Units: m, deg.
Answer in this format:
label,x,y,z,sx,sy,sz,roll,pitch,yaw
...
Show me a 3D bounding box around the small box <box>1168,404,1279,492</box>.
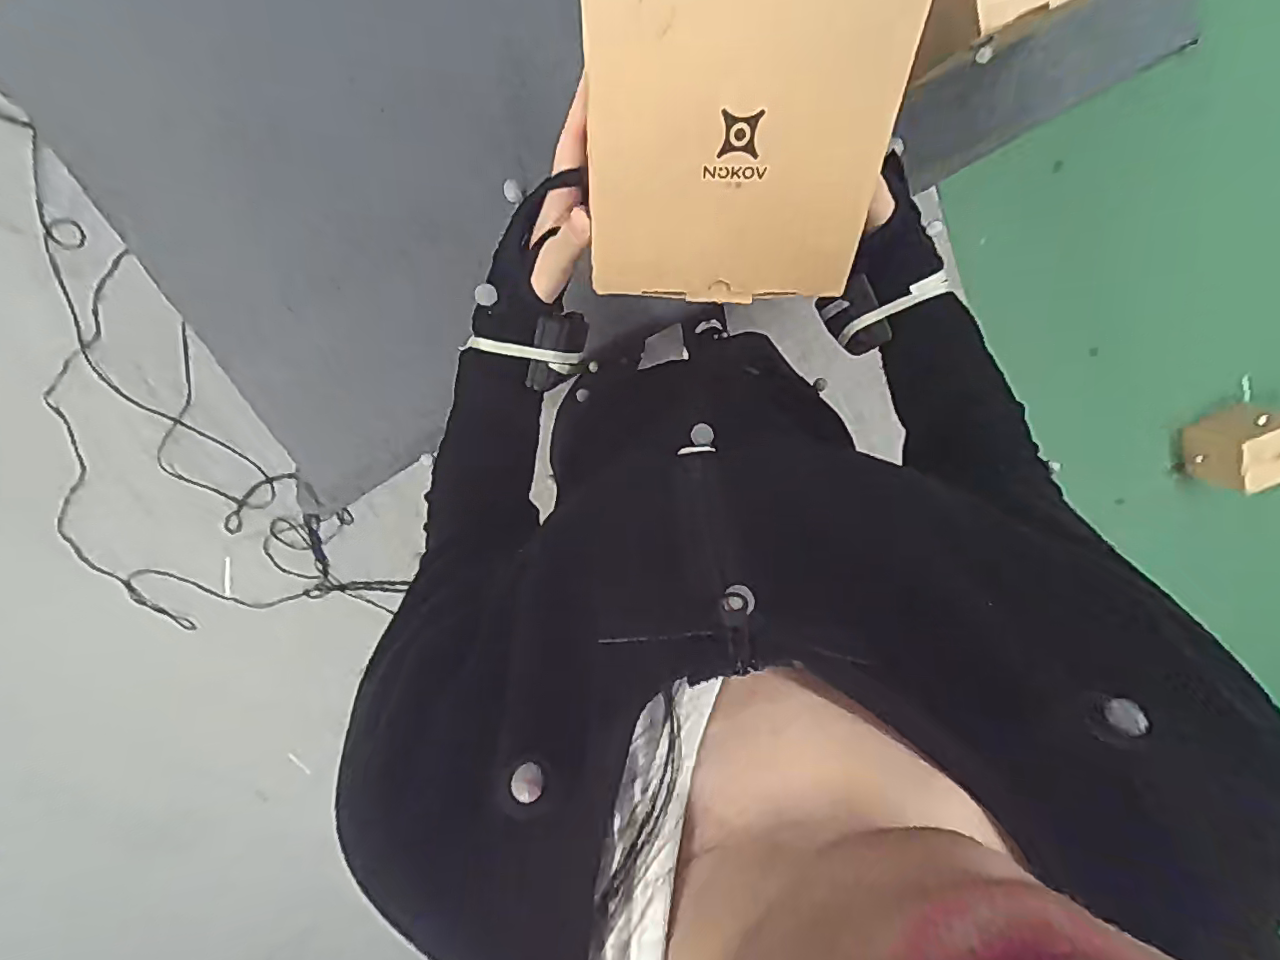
label,x,y,z,sx,sy,sz,roll,pitch,yaw
small box,1.657,-0.097,1.521,0.179,0.176,0.168,-26,109,6
